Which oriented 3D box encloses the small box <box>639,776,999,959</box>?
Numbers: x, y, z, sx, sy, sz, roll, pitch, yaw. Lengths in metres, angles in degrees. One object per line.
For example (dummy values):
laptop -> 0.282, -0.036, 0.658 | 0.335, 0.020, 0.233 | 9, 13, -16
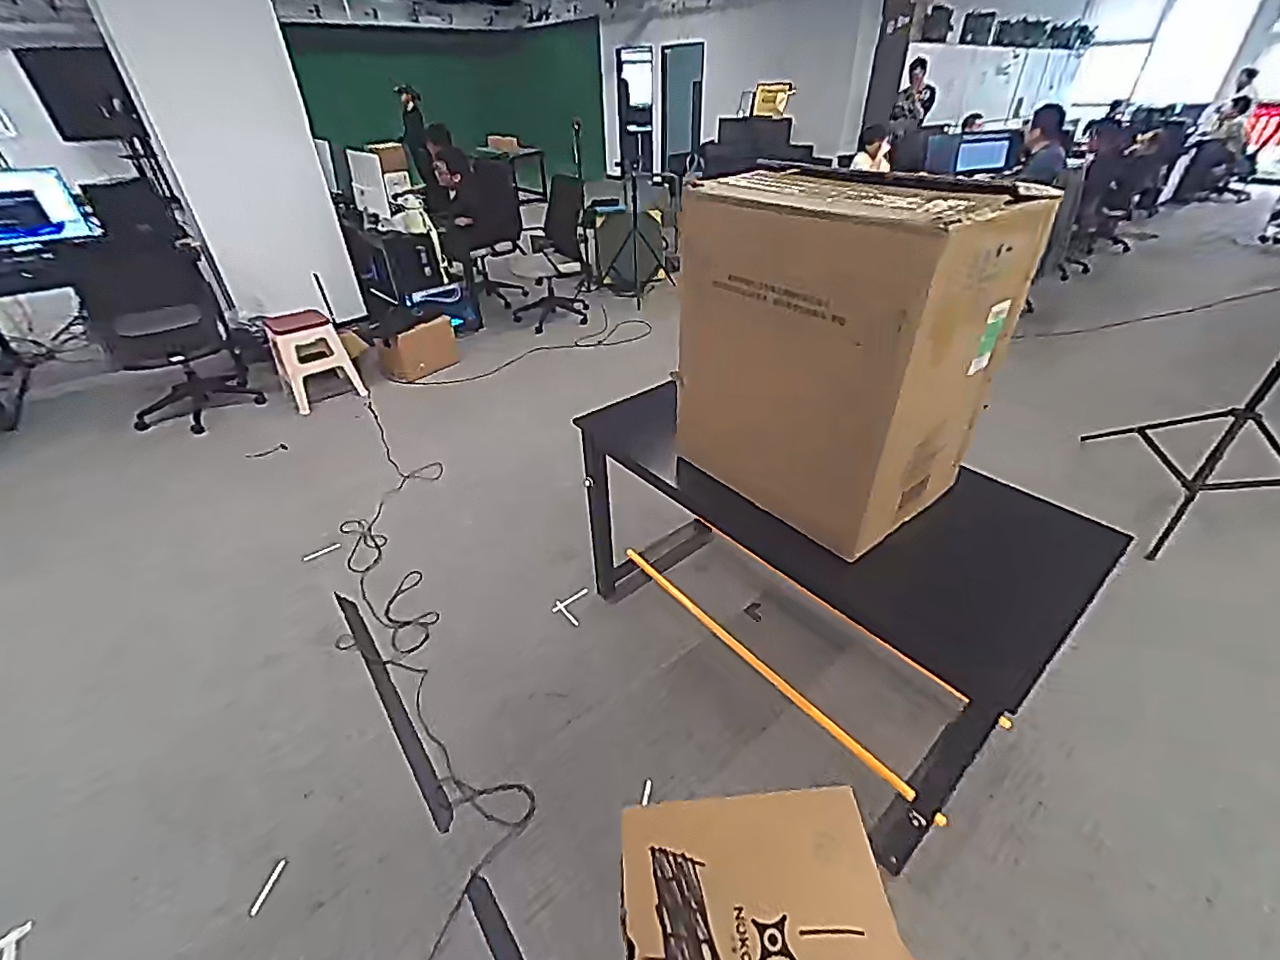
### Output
small box -> 0.098, 0.302, 0.324 | 0.179, 0.176, 0.168 | -6, 43, 0
